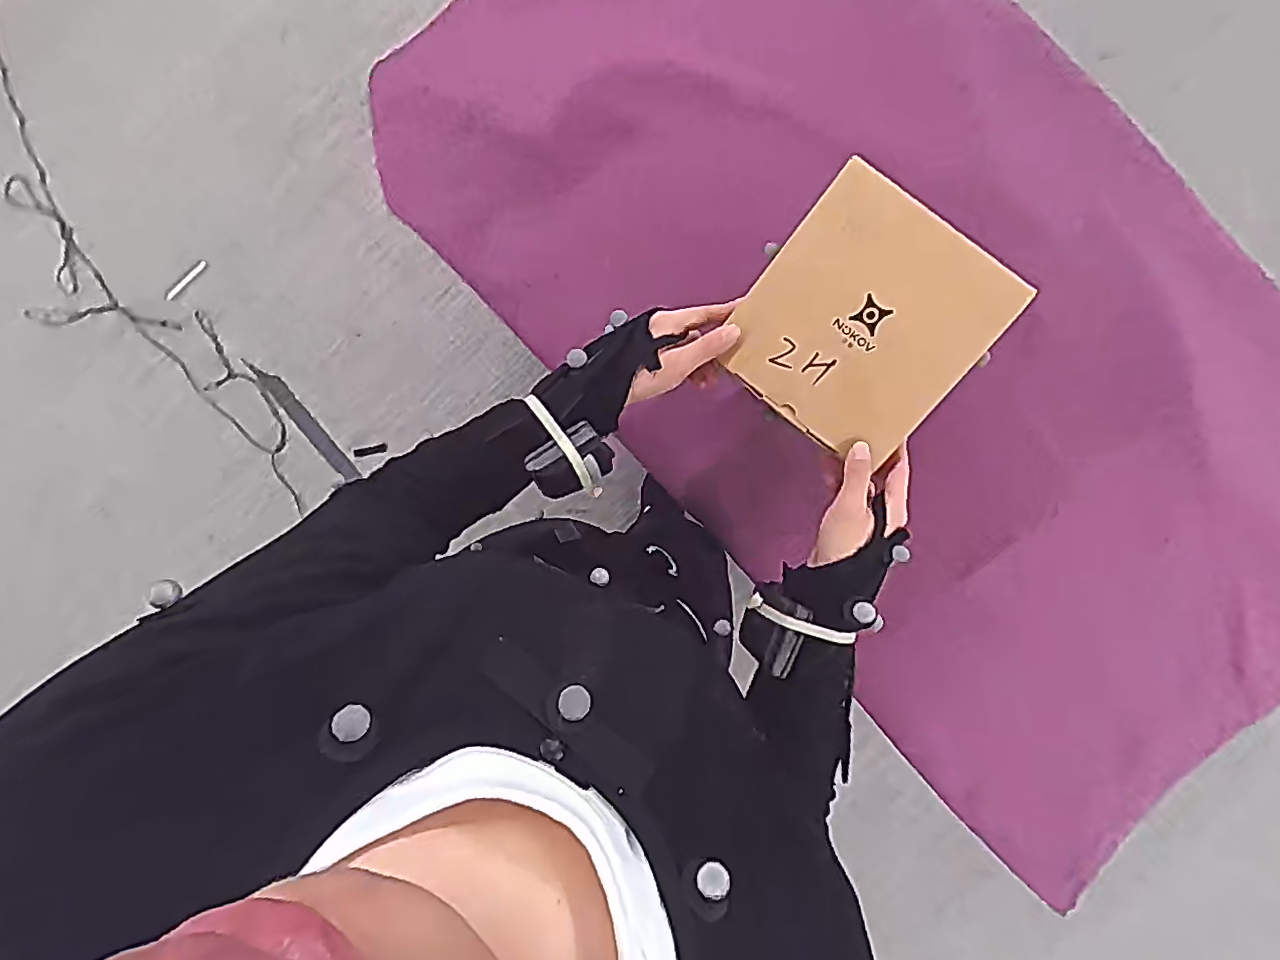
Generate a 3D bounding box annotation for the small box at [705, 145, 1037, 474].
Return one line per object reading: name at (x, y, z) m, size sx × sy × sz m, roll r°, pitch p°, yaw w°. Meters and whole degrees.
small box at (0.174, -0.132, 0.470) m, size 0.168 × 0.176 × 0.179 m, roll 39°, pitch 104°, yaw 3°

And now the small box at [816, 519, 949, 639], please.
small box at (0.495, 0.199, 1.142) m, size 0.179 × 0.176 × 0.168 m, roll -40°, pitch 87°, yaw 3°
